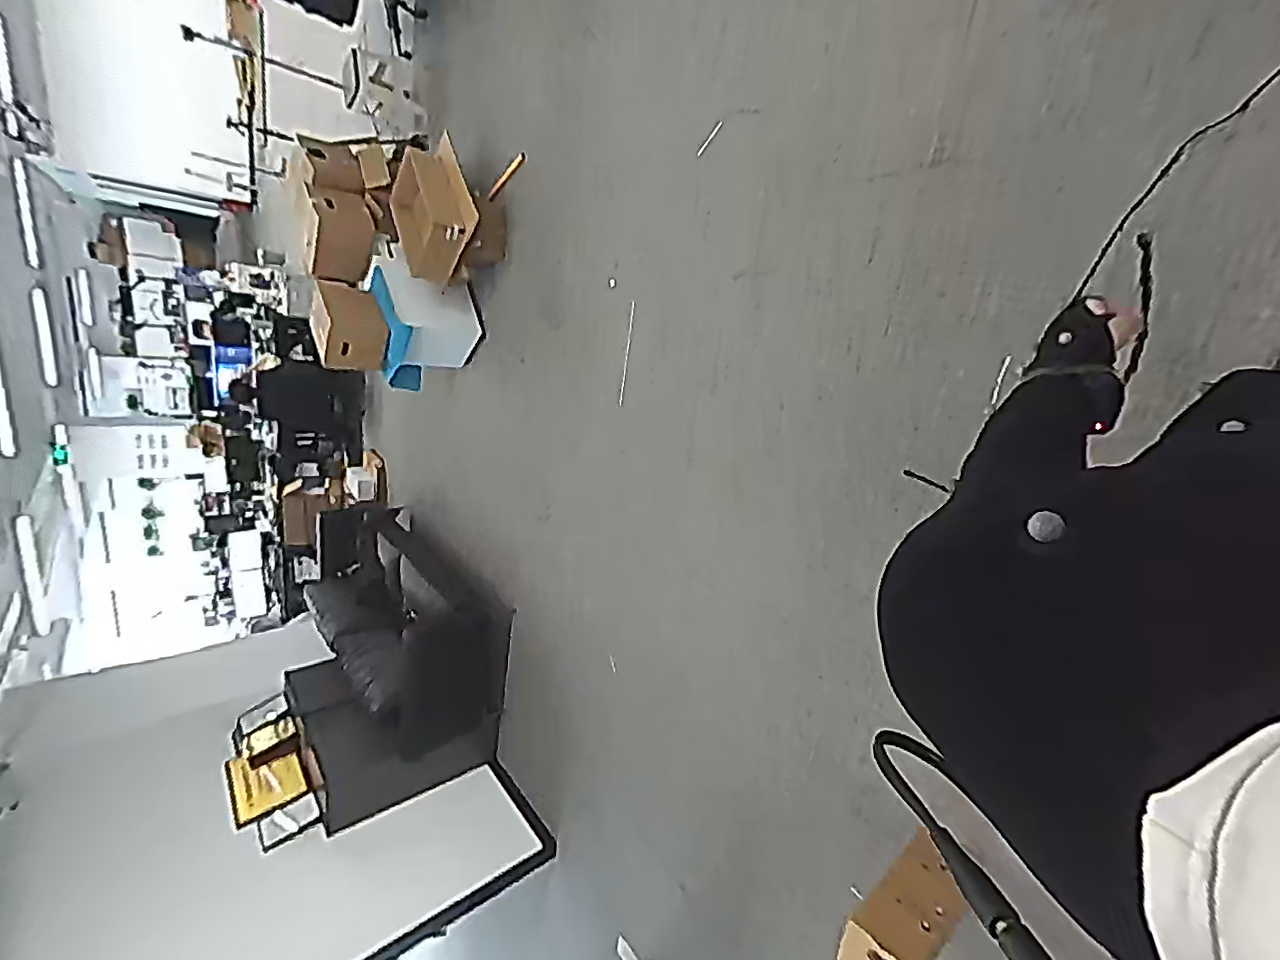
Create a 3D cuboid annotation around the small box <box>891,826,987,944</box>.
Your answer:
[{"bbox_3d":[0.859,1.150,1.552,0.179,0.176,0.168,25,112,45],"label":"small box"}]

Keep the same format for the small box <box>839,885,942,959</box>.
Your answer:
[{"bbox_3d":[0.616,1.162,1.331,0.168,0.176,0.179,23,112,45],"label":"small box"}]
